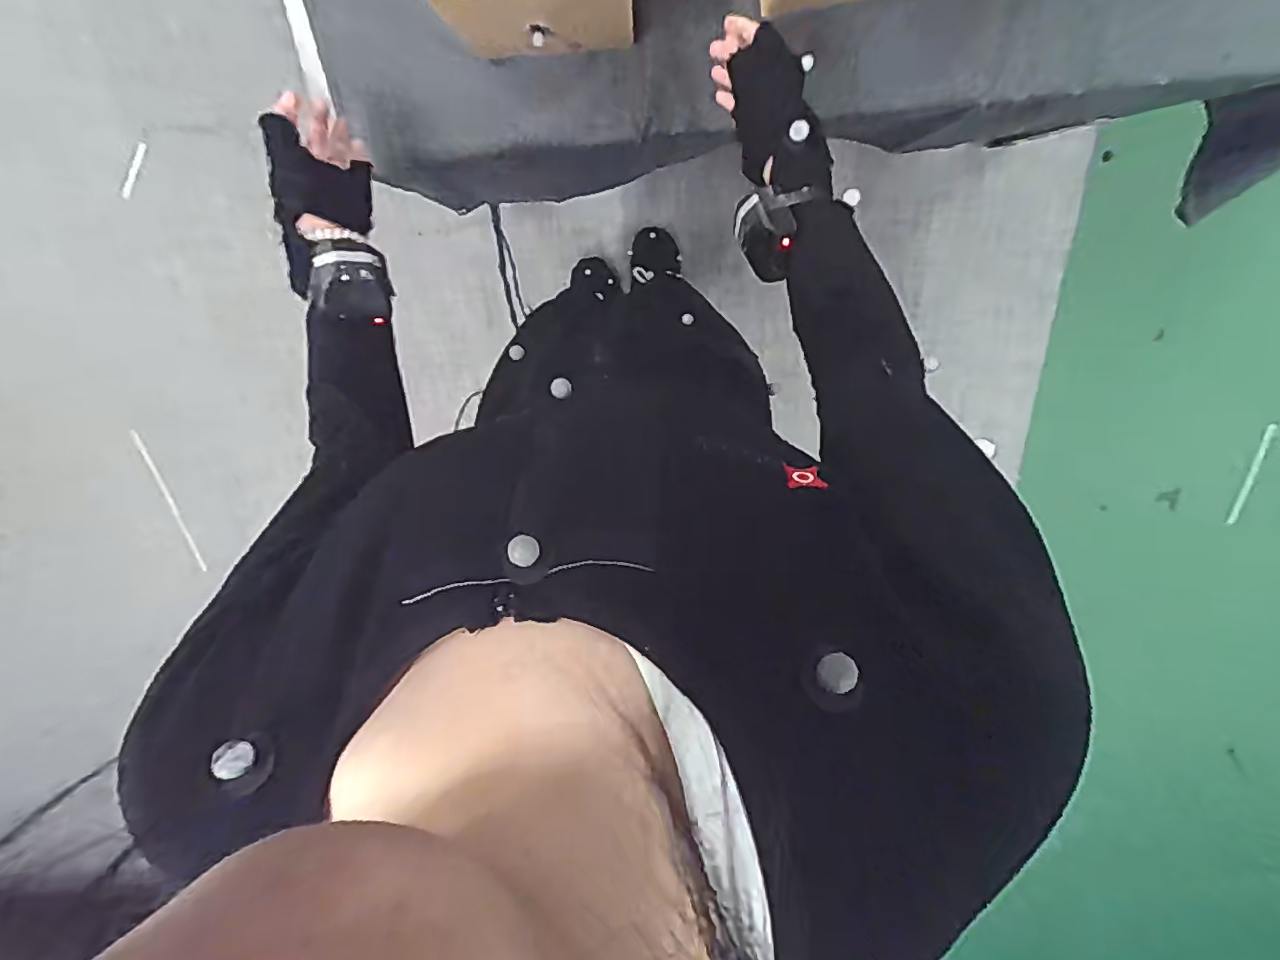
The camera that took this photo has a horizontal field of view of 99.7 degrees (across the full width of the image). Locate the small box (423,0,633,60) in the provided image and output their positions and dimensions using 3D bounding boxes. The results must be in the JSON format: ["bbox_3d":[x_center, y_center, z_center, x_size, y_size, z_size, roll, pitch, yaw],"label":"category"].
[{"bbox_3d":[-0.093,-0.487,0.464,0.168,0.176,0.179,-2,114,1],"label":"small box"}]

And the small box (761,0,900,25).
[{"bbox_3d":[0.194,-0.519,0.449,0.179,0.176,0.168,-8,114,5],"label":"small box"}]

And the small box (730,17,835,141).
[{"bbox_3d":[0.285,-0.811,1.109,0.179,0.176,0.168,-5,115,5],"label":"small box"}]
